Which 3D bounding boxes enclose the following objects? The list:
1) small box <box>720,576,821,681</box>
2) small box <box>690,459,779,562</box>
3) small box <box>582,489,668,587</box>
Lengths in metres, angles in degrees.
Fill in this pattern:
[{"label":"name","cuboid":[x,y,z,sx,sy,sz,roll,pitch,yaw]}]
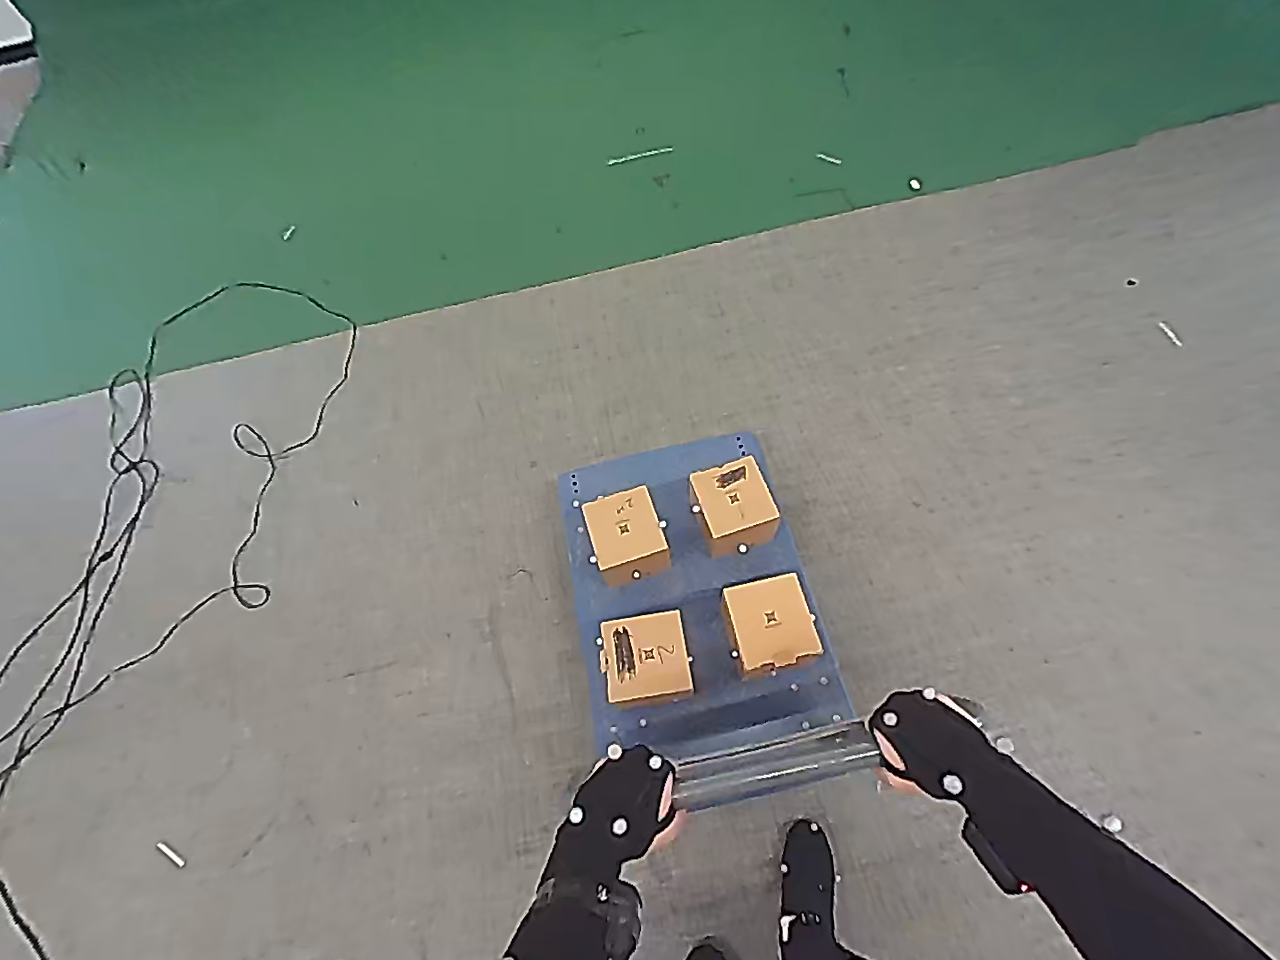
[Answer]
[{"label":"small box","cuboid":[0.282,0.336,1.212,0.168,0.176,0.179,-12,63,-1]},{"label":"small box","cuboid":[0.227,0.080,1.349,0.168,0.176,0.179,-17,63,-3]},{"label":"small box","cuboid":[-0.032,0.151,1.337,0.168,0.176,0.179,-17,62,-4]}]
